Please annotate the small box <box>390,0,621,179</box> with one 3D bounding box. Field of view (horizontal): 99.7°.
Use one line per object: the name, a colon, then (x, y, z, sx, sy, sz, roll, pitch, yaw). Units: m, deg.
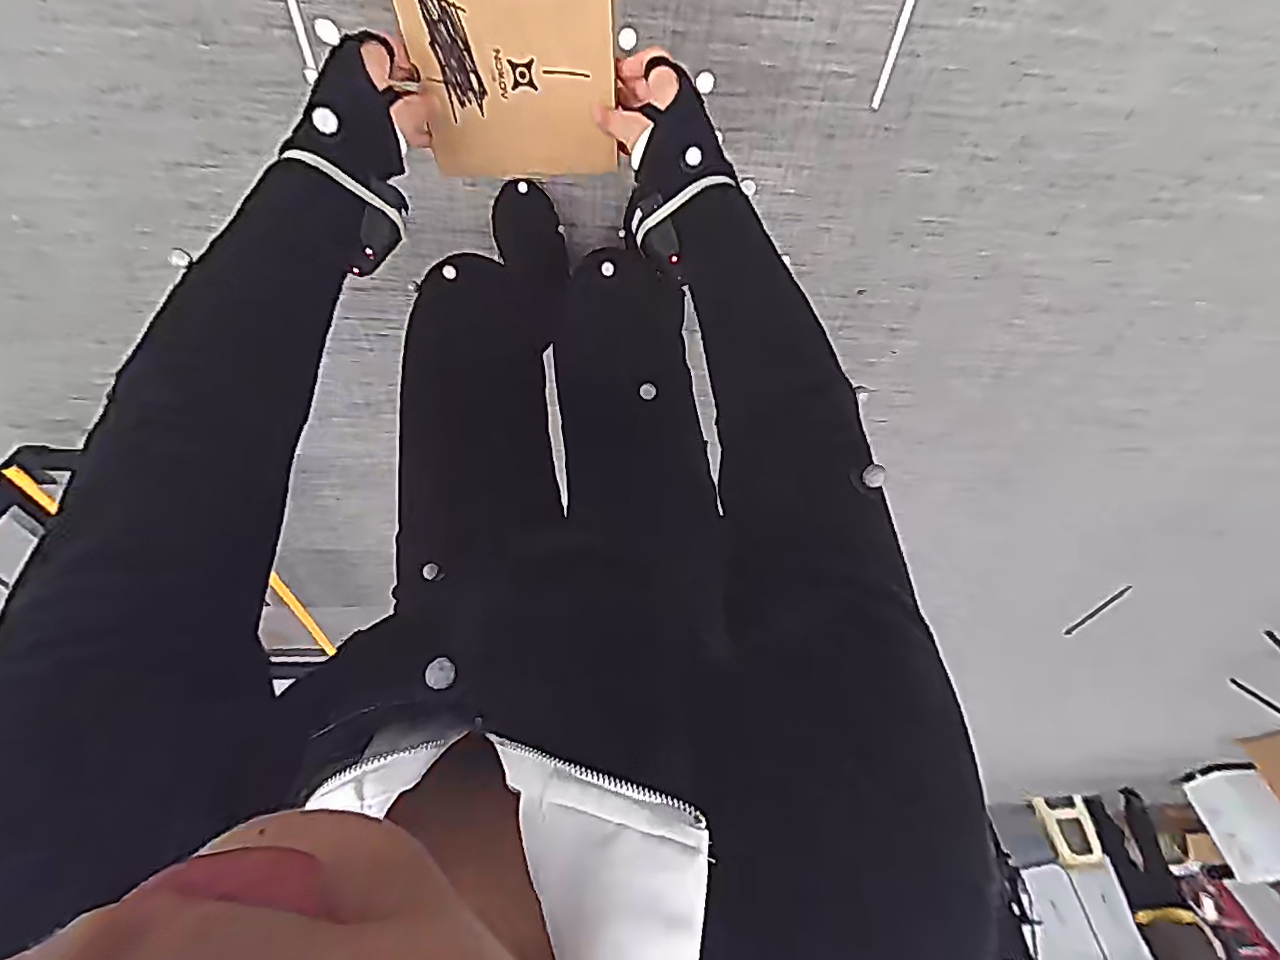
small box: (-0.108, -0.406, 0.505, 0.179, 0.176, 0.168, 0, 143, 0)
